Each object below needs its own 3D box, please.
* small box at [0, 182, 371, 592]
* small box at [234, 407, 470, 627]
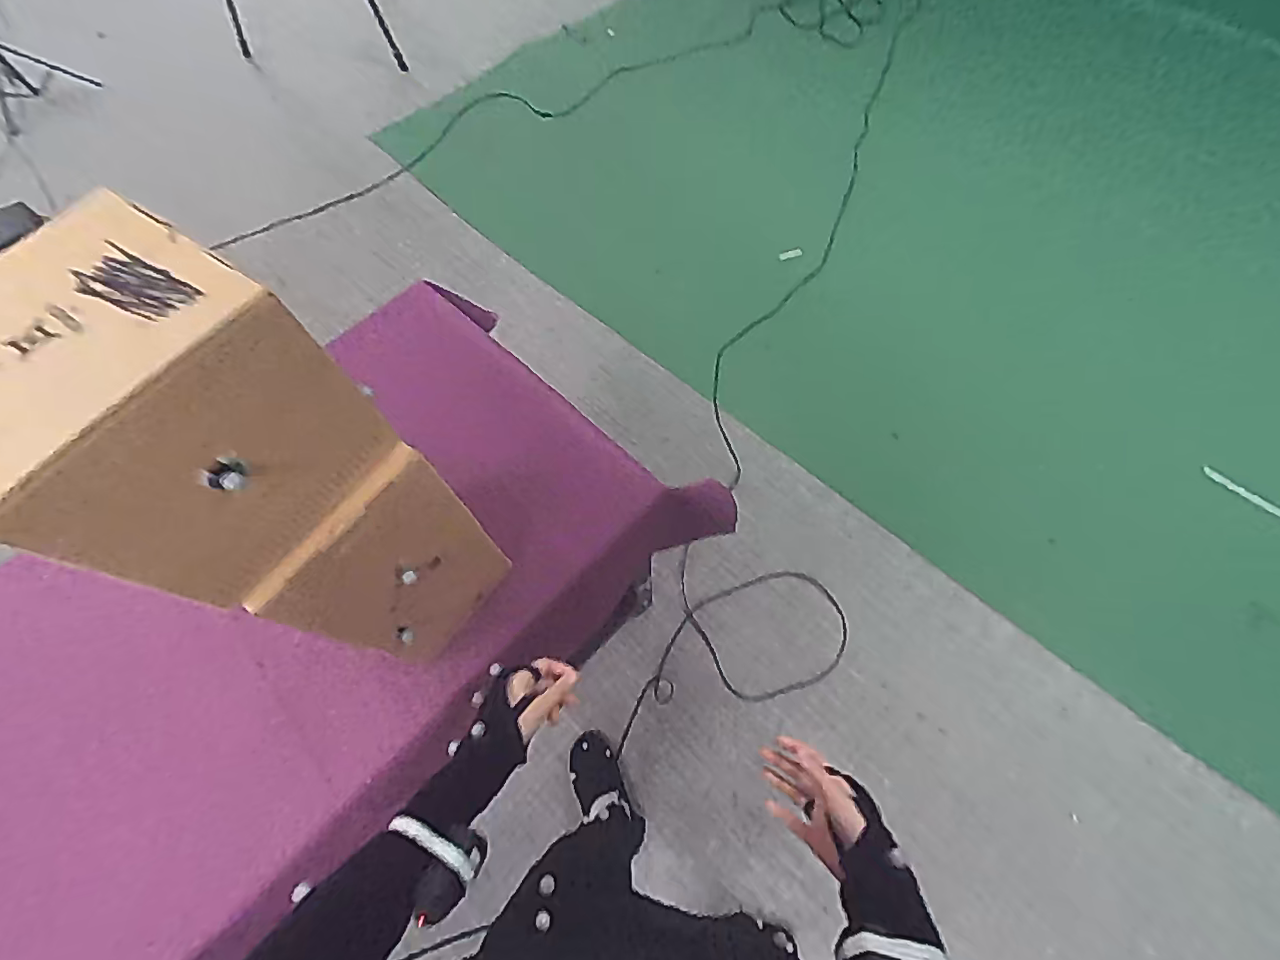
[{"bbox_3d":[-0.320,-0.052,0.368,0.168,0.176,0.179,32,71,17],"label":"small box"},{"bbox_3d":[-0.299,0.018,0.516,0.179,0.176,0.168,34,71,17],"label":"small box"}]
